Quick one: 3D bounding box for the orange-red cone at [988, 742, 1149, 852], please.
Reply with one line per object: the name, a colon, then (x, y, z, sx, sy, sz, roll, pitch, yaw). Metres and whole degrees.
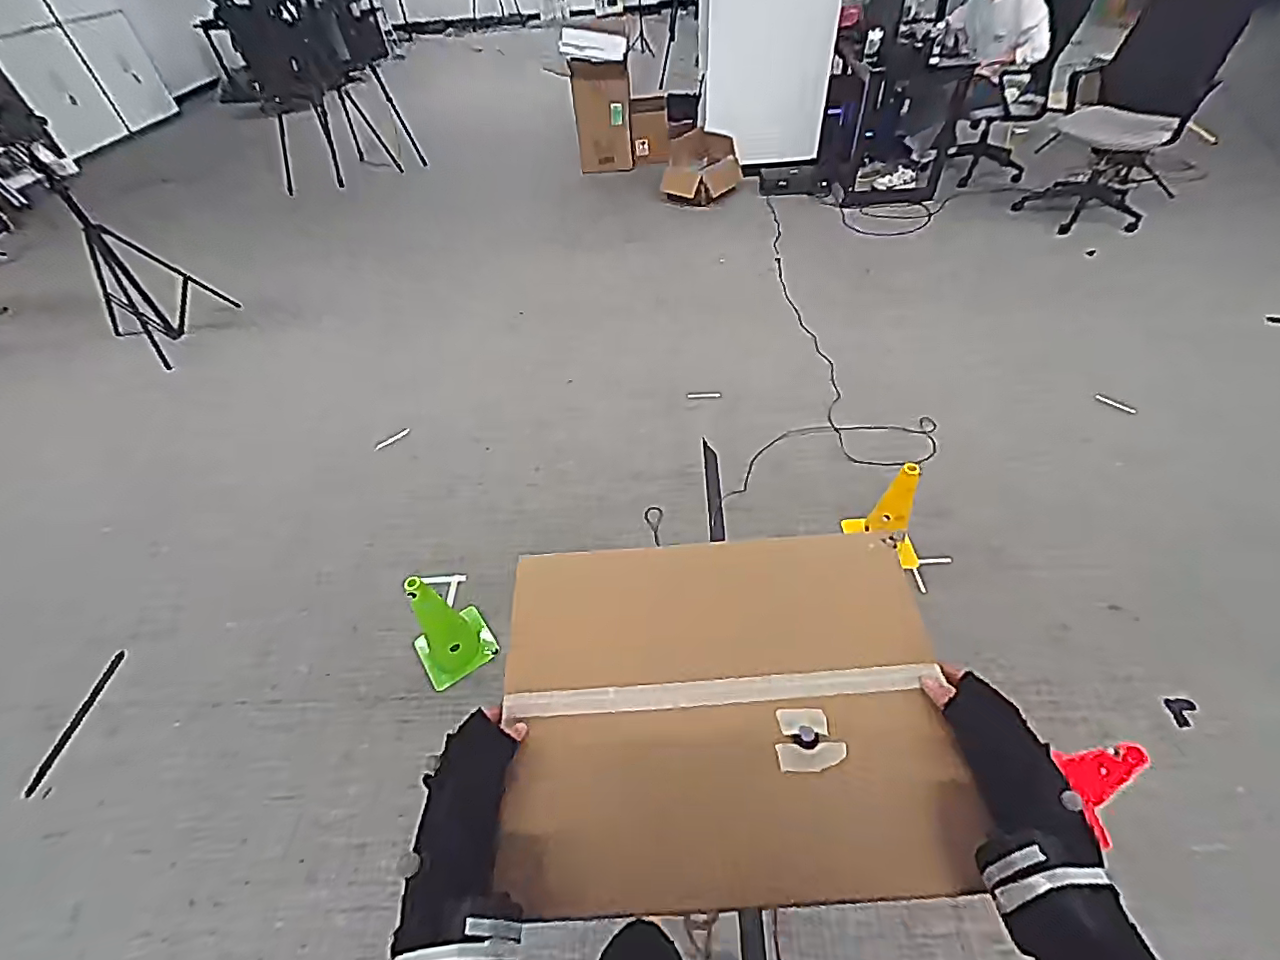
orange-red cone: (0.922, 0.618, 1.118, 0.198, 0.360, 0.199, -3, 46, 1)

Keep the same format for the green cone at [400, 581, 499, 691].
green cone: (-0.555, 0.381, 1.474, 0.202, 0.368, 0.200, -32, 52, -20)

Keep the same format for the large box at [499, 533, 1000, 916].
large box: (0.082, 0.286, 0.627, 0.408, 0.320, 0.320, -4, 54, 0)
